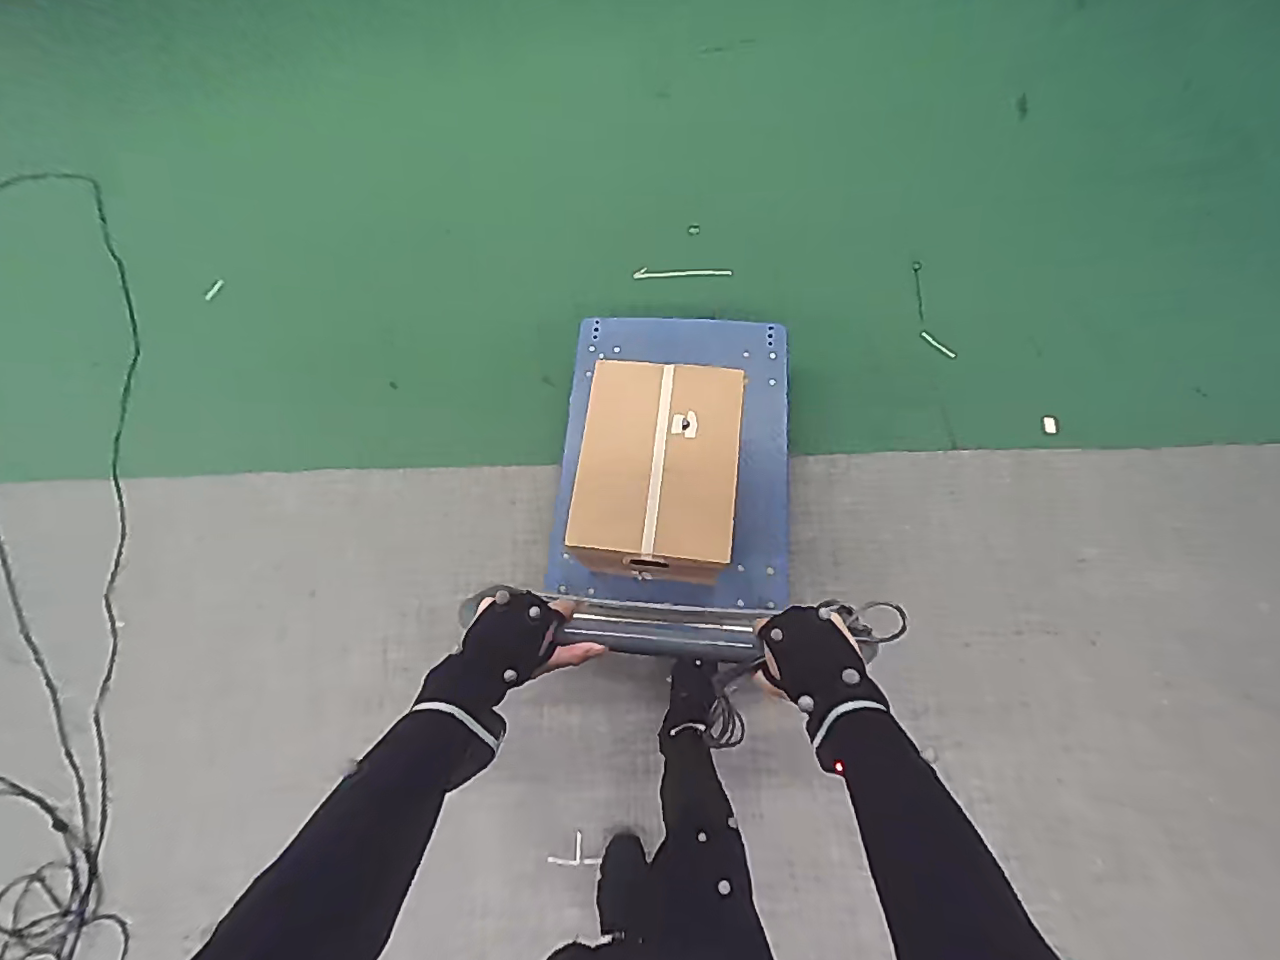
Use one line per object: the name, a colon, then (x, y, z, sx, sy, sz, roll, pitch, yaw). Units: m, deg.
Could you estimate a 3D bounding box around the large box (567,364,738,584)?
large box: (0.042, 0.002, 1.209, 0.320, 0.320, 0.408, 6, 71, 5)
